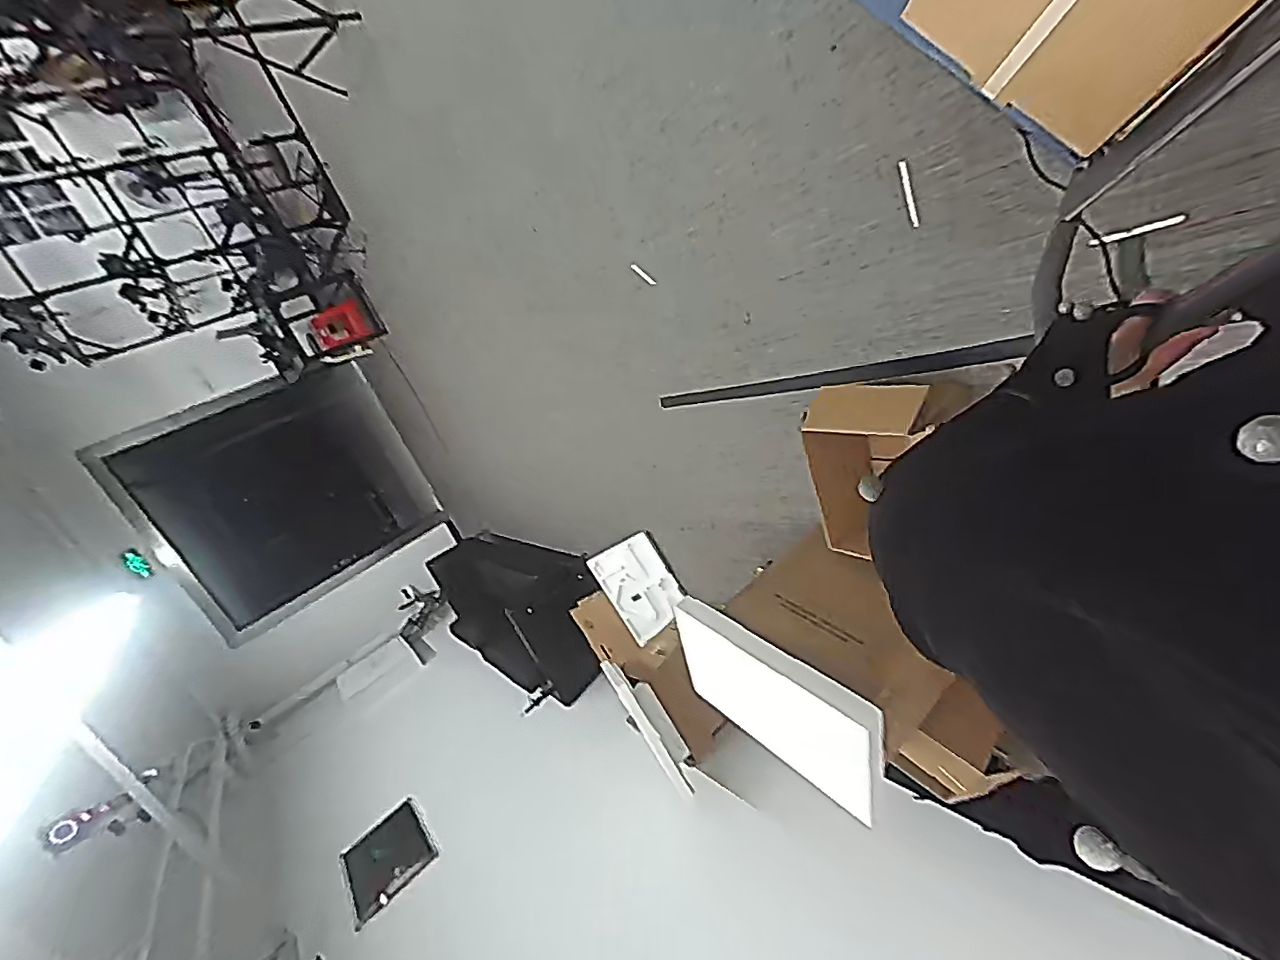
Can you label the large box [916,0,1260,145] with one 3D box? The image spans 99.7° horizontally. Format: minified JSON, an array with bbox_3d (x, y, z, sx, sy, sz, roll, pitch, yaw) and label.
[{"bbox_3d":[0.618,-0.701,0.616,0.320,0.320,0.408,40,149,4],"label":"large box"}]
